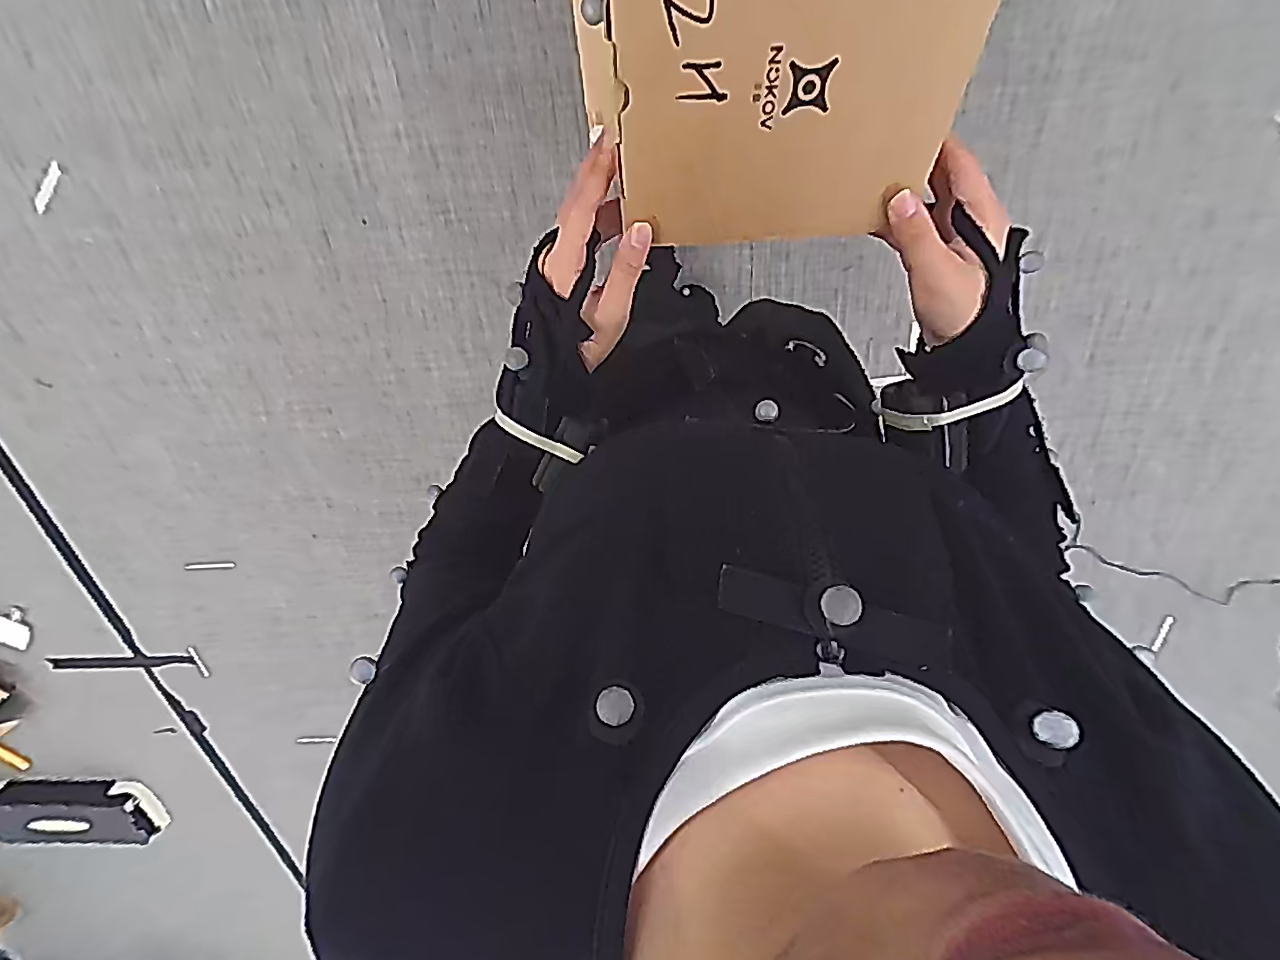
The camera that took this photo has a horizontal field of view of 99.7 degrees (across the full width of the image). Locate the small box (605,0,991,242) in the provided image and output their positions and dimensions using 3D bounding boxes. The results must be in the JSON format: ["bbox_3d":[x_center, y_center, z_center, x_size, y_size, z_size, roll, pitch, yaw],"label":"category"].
[{"bbox_3d":[0.069,-0.264,0.310,0.179,0.176,0.168,-3,148,1],"label":"small box"}]
